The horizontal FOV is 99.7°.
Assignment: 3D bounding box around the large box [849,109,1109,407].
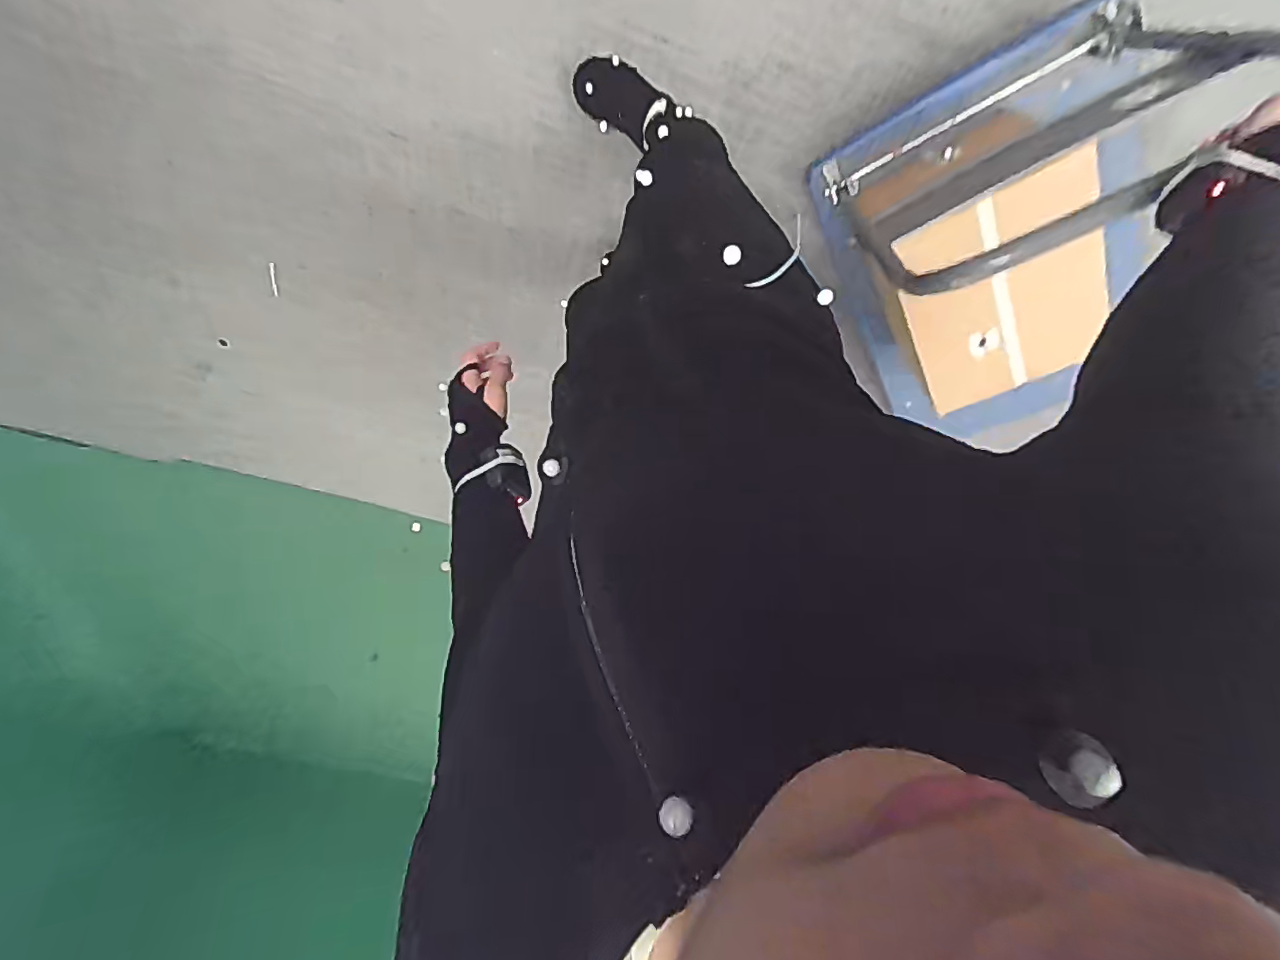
[{"bbox_3d":[0.665,-0.434,1.089,0.320,0.320,0.408,-22,127,24],"label":"large box"}]
